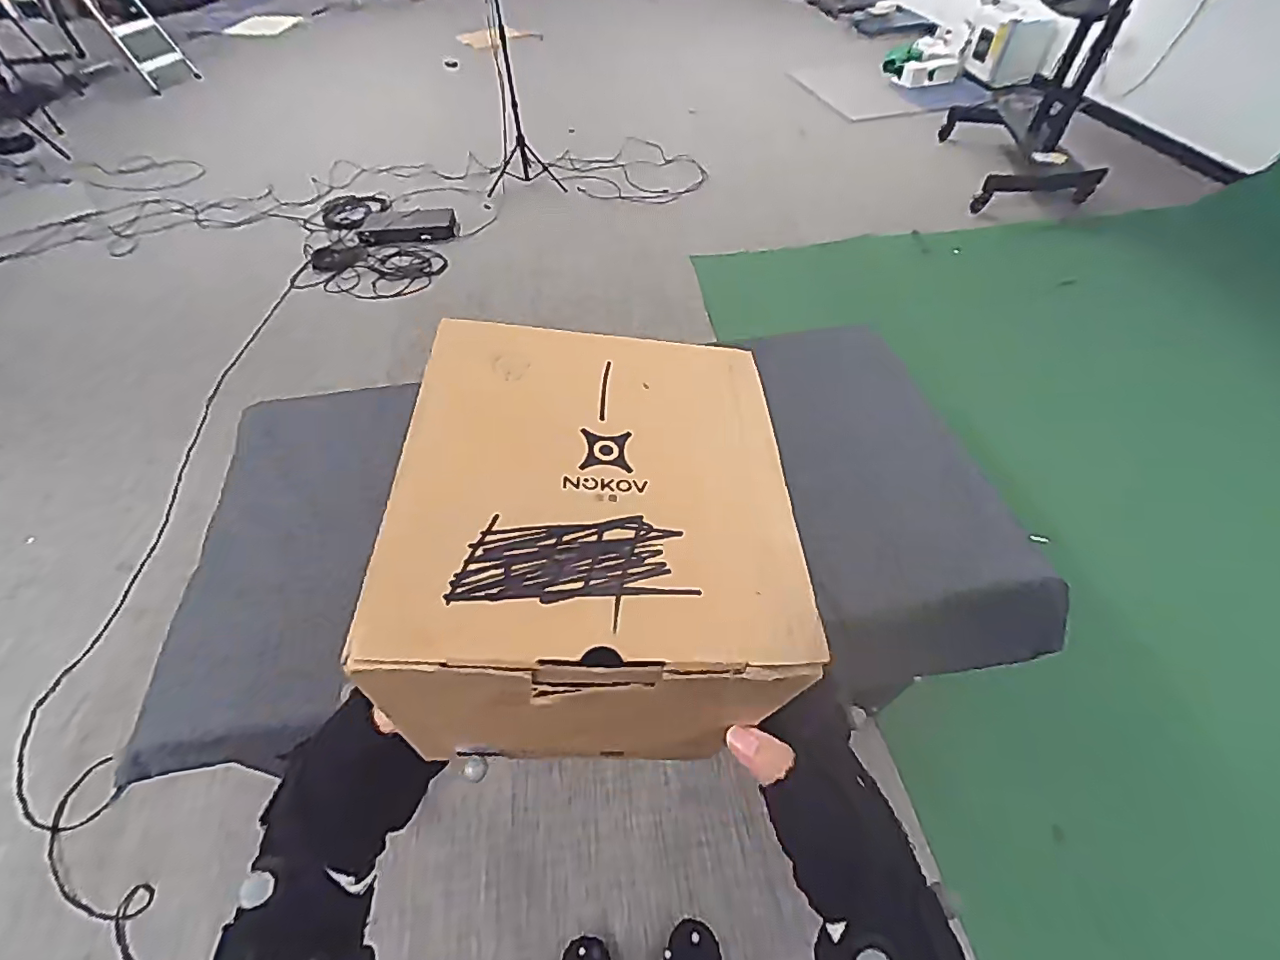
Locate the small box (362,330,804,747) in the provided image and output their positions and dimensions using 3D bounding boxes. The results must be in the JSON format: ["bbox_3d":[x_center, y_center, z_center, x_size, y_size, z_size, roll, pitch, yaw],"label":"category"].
[{"bbox_3d":[-0.030,0.043,0.308,0.168,0.176,0.179,4,52,-8],"label":"small box"}]
